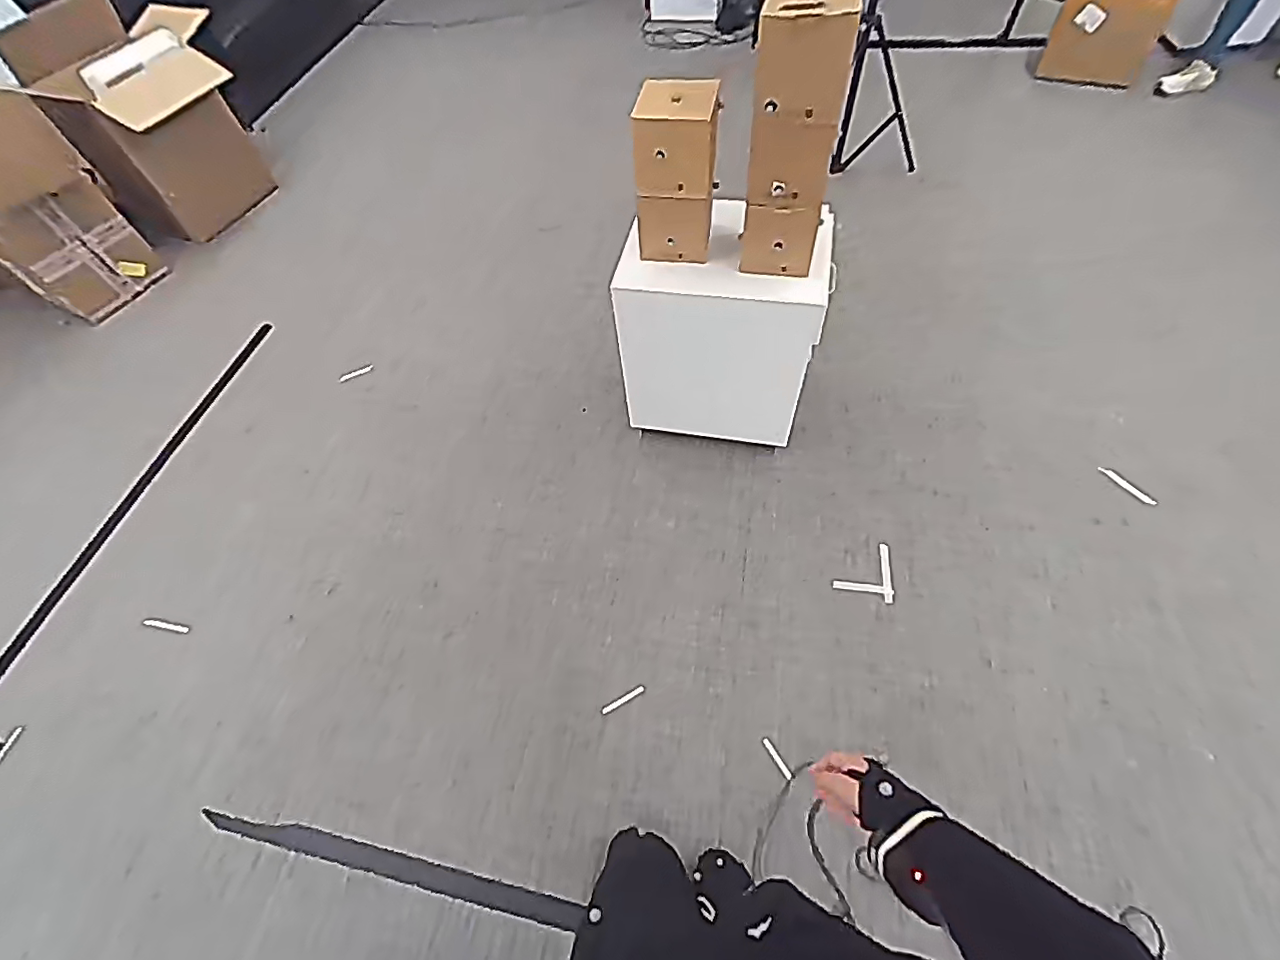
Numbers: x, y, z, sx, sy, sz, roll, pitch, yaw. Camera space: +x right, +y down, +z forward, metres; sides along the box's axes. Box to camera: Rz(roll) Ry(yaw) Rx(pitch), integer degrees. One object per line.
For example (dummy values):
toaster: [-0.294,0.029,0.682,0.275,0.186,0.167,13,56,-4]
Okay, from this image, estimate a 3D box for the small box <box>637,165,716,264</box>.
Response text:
small box: [0.091,-0.661,1.332,0.168,0.176,0.179,6,59,9]

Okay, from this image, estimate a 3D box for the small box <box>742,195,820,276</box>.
small box: [0.334,-0.606,1.277,0.168,0.176,0.179,9,60,12]

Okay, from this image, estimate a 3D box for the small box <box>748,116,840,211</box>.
small box: [0.323,-0.701,1.144,0.168,0.176,0.179,8,59,12]

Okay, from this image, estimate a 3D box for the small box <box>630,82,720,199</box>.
small box: [0.082,-0.745,1.193,0.168,0.176,0.179,7,58,9]

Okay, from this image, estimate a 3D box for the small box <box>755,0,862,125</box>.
small box: [0.310,-0.788,1.005,0.168,0.176,0.179,10,57,13]
